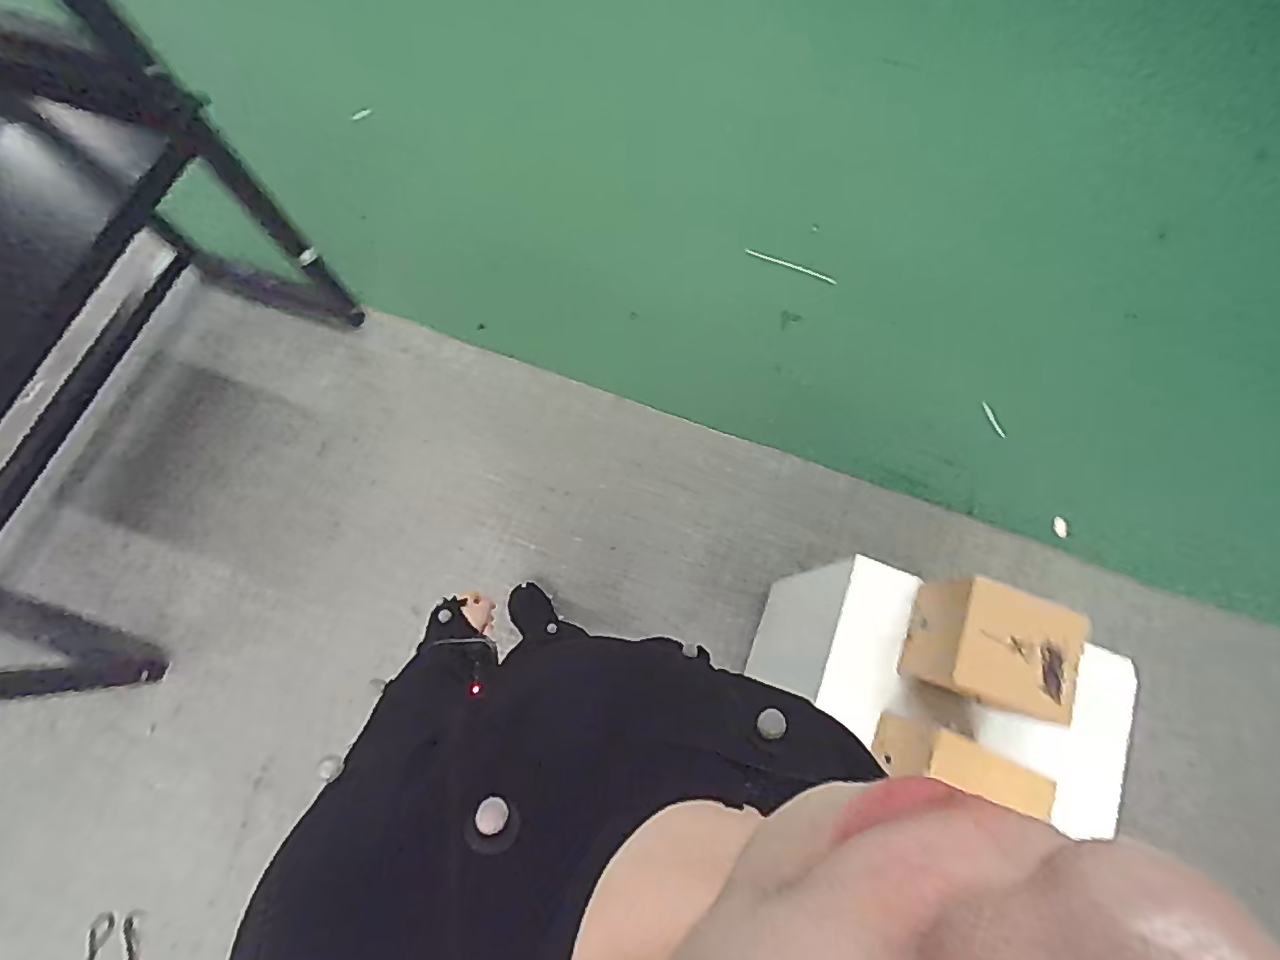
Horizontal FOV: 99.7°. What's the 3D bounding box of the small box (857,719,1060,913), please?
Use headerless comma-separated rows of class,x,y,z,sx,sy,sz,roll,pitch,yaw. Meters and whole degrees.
small box,0.455,0.471,0.795,0.179,0.176,0.168,24,74,5

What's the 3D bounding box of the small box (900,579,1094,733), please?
small box,0.550,0.268,0.853,0.179,0.176,0.168,22,76,5
